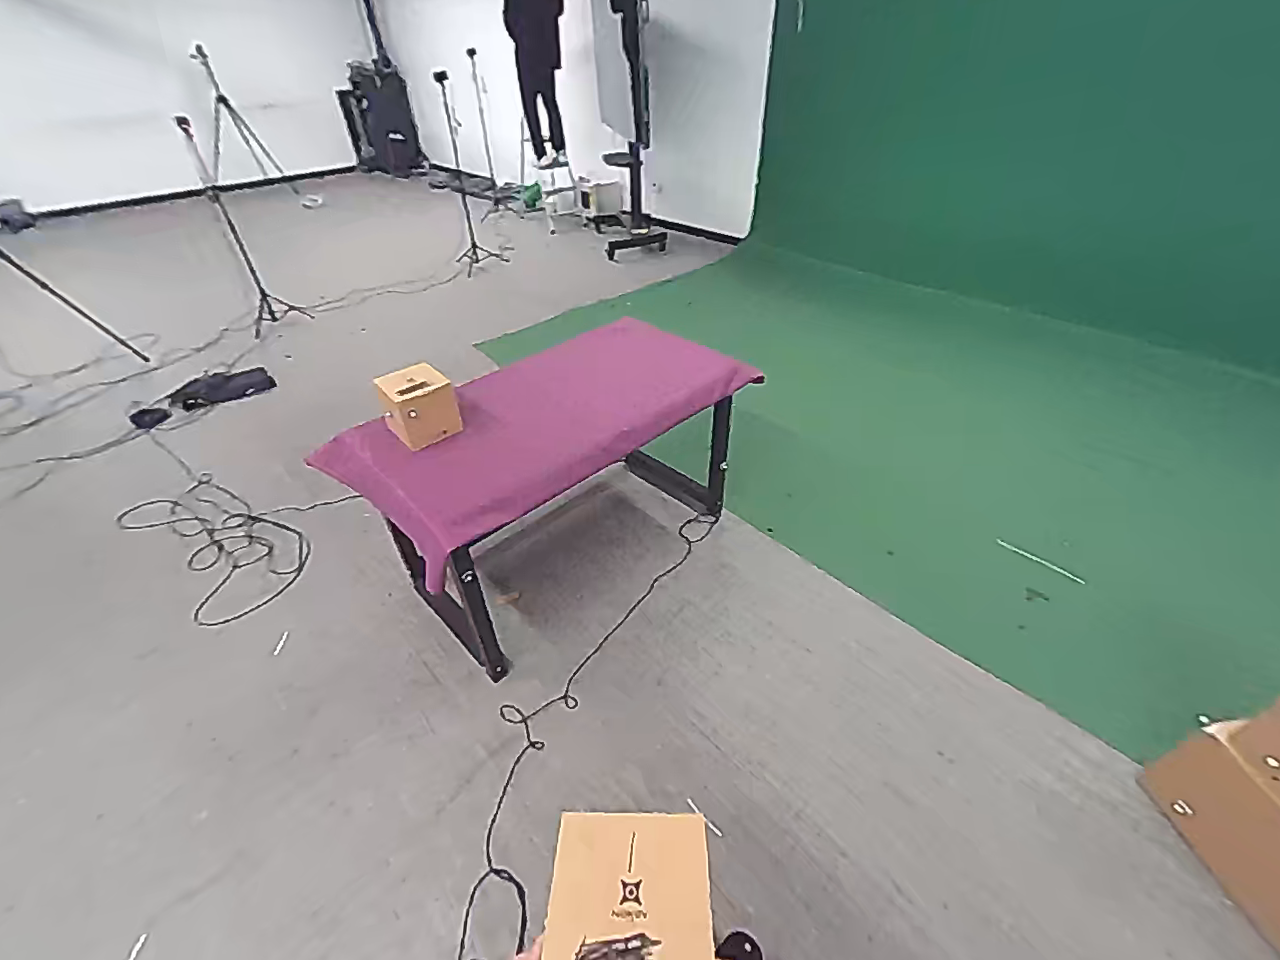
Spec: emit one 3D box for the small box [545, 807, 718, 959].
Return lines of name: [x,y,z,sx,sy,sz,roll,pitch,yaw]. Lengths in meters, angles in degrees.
small box: [-0.003,0.489,0.585,0.168,0.176,0.179,-1,30,2]

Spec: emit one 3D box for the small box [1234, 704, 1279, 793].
small box: [1.503,0.599,1.191,0.179,0.176,0.168,-7,40,-5]
